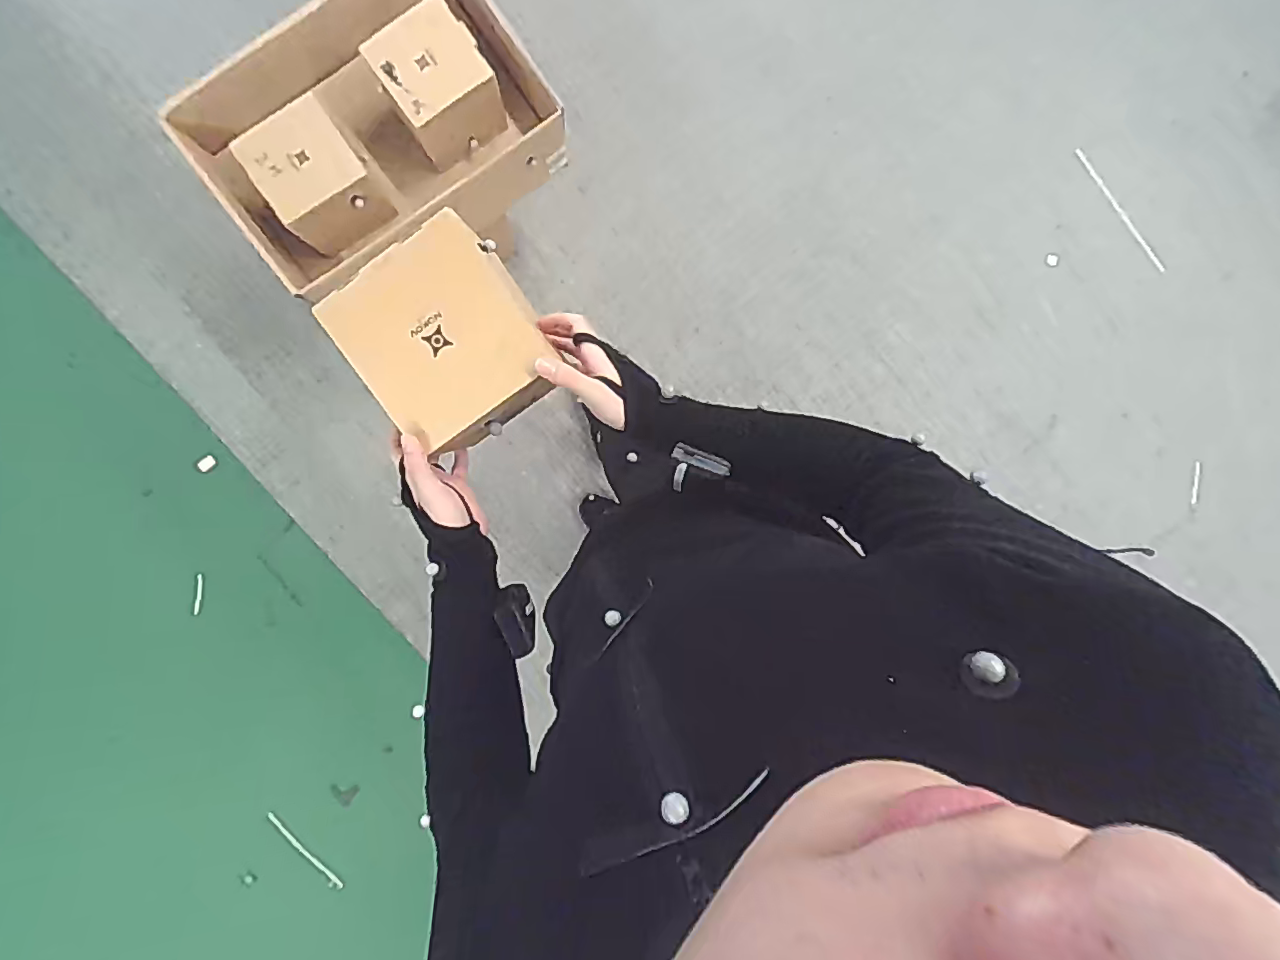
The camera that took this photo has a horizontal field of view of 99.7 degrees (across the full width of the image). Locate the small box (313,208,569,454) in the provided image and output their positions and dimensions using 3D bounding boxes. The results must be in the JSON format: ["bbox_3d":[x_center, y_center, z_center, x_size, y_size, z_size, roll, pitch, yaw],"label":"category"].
[{"bbox_3d":[-0.196,-0.150,0.593,0.168,0.176,0.179,-34,96,4],"label":"small box"}]
